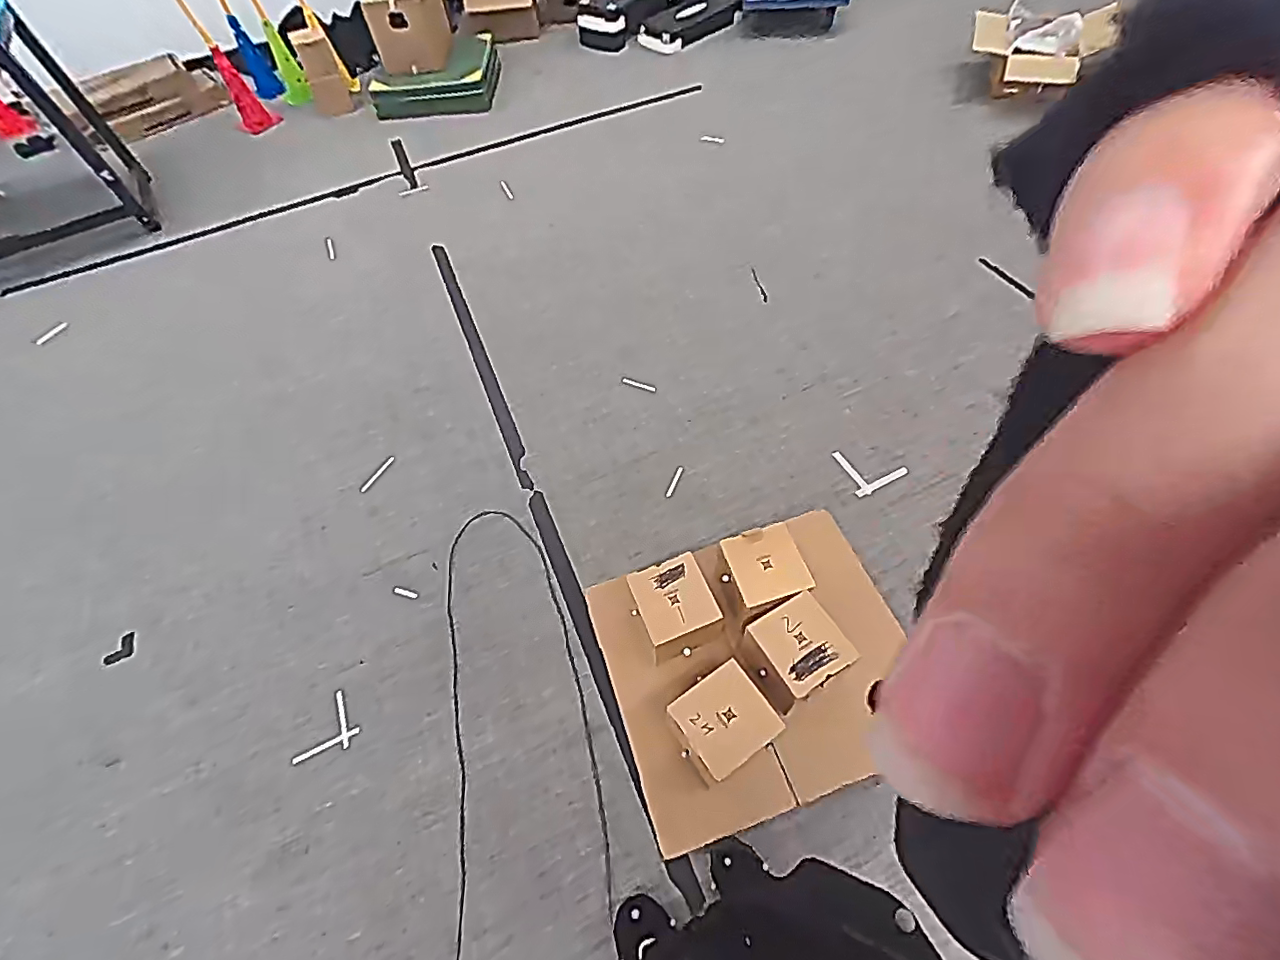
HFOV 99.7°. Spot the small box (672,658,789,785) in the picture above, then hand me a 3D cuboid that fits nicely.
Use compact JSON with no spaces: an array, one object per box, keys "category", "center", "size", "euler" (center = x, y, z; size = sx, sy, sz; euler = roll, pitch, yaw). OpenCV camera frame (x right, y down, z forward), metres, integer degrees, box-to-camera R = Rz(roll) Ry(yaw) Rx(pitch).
[{"category":"small box","center":[0.181,0.510,1.136],"size":[0.179,0.176,0.168],"euler":[-31,59,-15]}]

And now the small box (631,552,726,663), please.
[{"category":"small box","center":[0.086,0.304,1.278],"size":[0.168,0.176,0.179],"euler":[-20,59,-9]}]
